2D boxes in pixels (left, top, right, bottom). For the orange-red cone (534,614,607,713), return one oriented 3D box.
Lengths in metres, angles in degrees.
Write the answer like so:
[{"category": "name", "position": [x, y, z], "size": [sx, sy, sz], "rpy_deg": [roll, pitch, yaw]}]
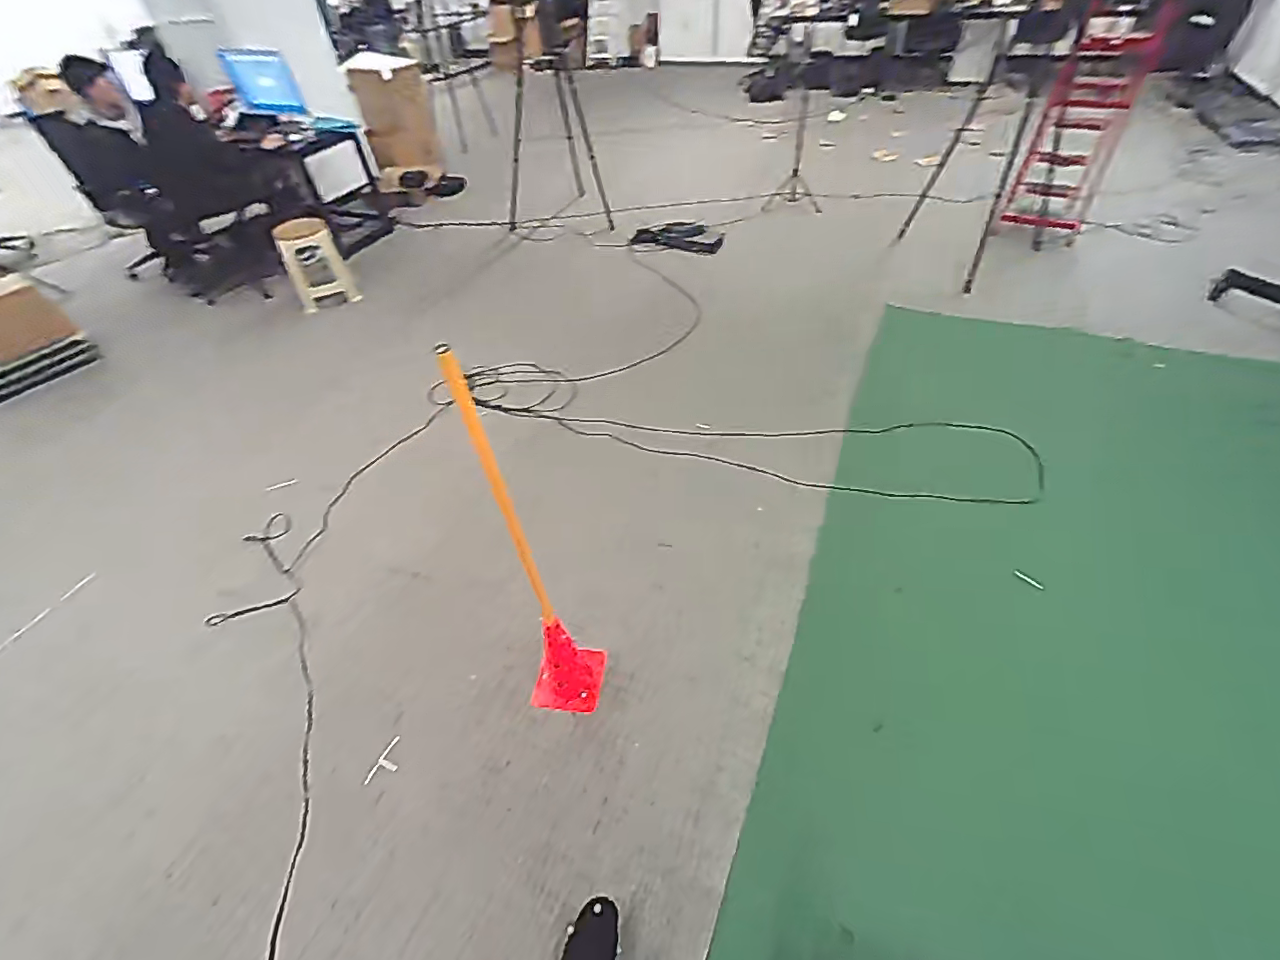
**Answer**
[{"category": "orange-red cone", "position": [-0.222, 0.492, 1.555], "size": [0.198, 0.360, 0.199], "rpy_deg": [5, 45, 9]}]
